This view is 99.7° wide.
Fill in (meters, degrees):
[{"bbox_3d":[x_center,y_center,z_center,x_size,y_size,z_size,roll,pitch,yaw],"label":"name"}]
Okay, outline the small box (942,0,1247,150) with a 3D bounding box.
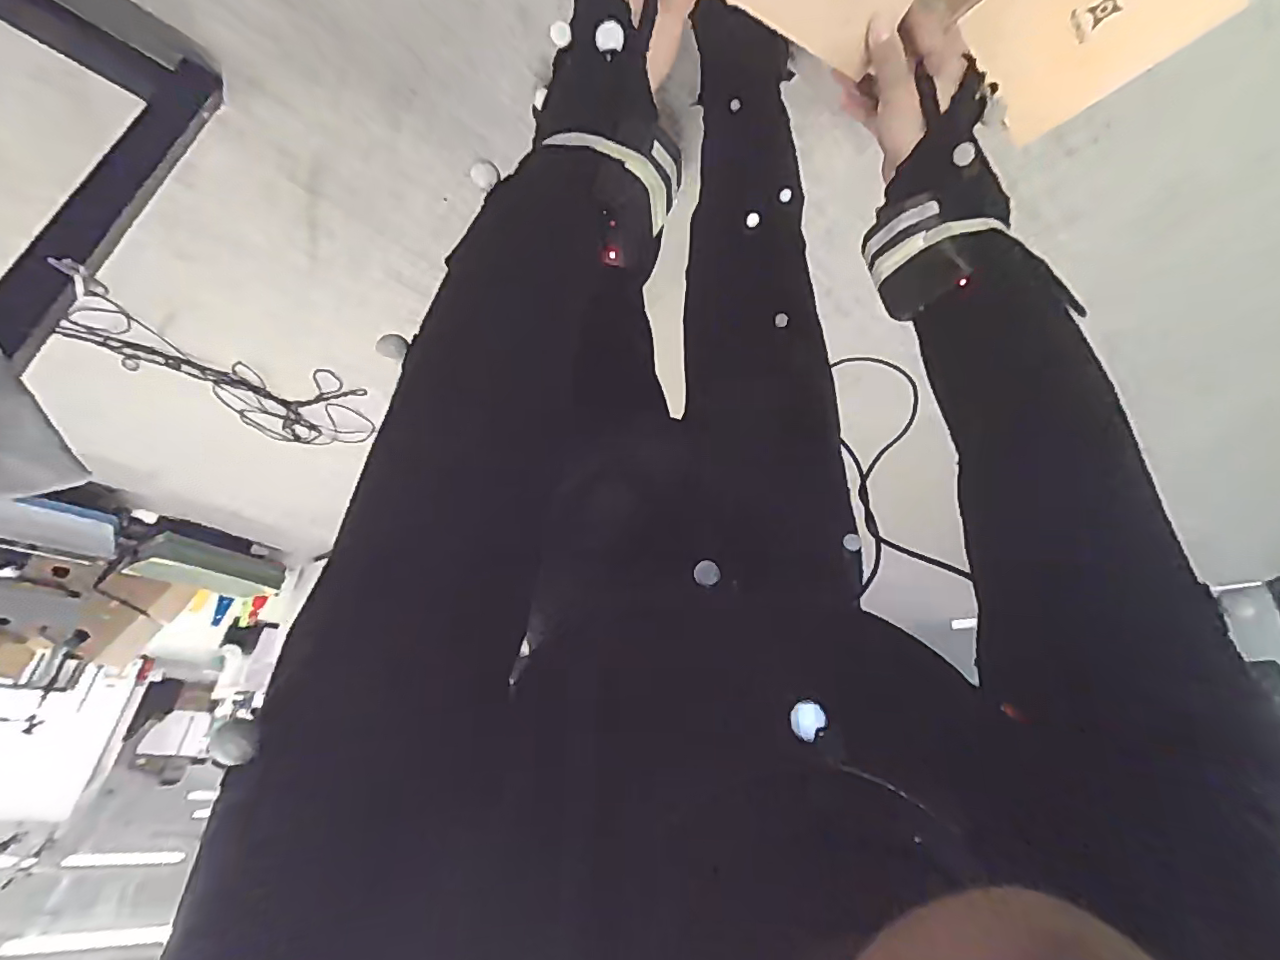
[{"bbox_3d":[0.397,-0.470,0.500,0.168,0.176,0.179,25,146,-35],"label":"small box"}]
